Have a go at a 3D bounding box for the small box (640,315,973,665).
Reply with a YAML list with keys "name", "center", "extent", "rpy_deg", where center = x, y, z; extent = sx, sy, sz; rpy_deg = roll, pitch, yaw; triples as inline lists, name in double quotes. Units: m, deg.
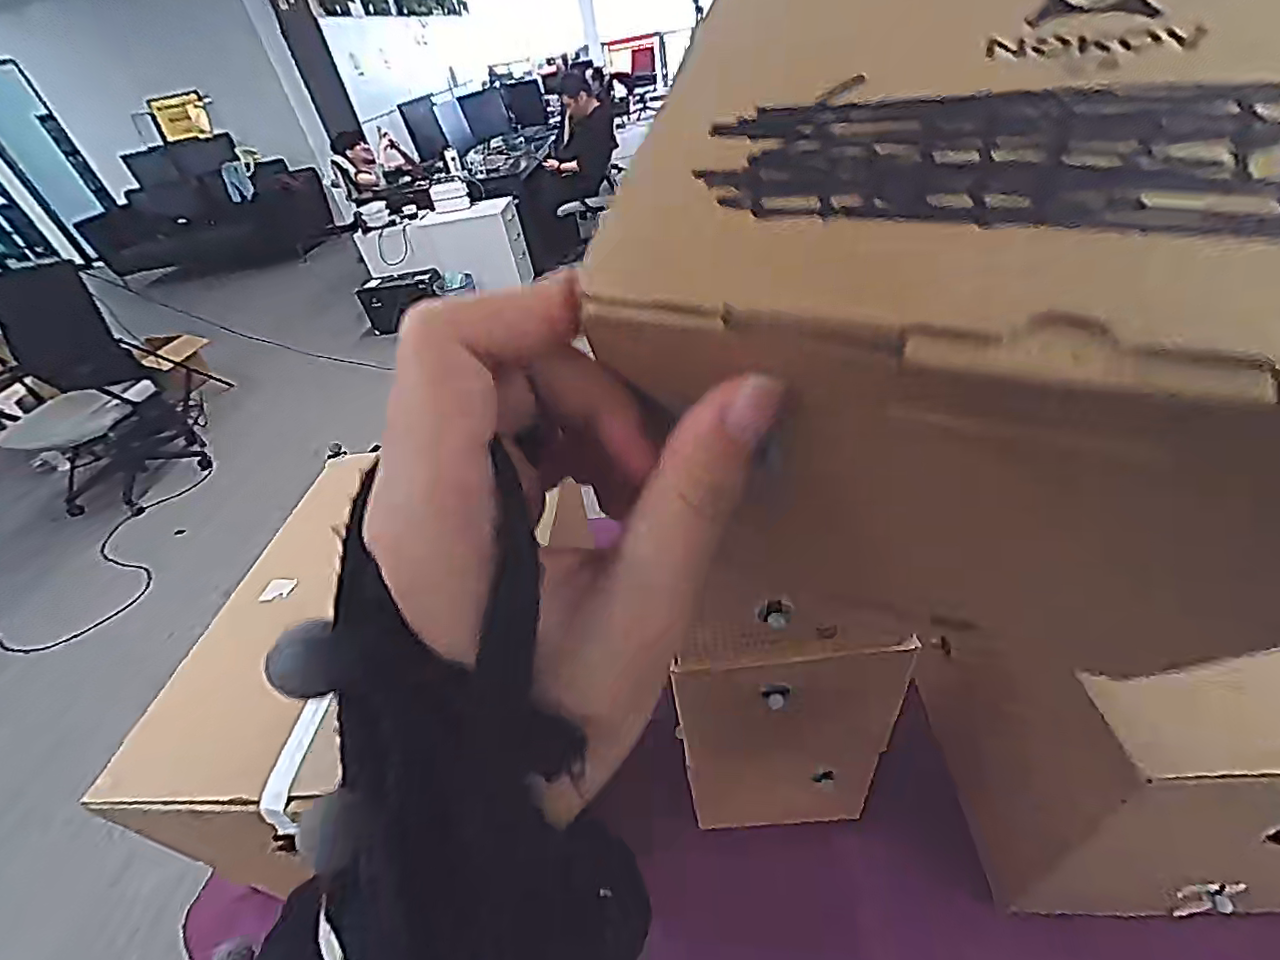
- name: "small box"
  center: [0.092, 0.005, 0.387]
  extent: [0.168, 0.176, 0.179]
  rpy_deg: [-8, 41, 3]
